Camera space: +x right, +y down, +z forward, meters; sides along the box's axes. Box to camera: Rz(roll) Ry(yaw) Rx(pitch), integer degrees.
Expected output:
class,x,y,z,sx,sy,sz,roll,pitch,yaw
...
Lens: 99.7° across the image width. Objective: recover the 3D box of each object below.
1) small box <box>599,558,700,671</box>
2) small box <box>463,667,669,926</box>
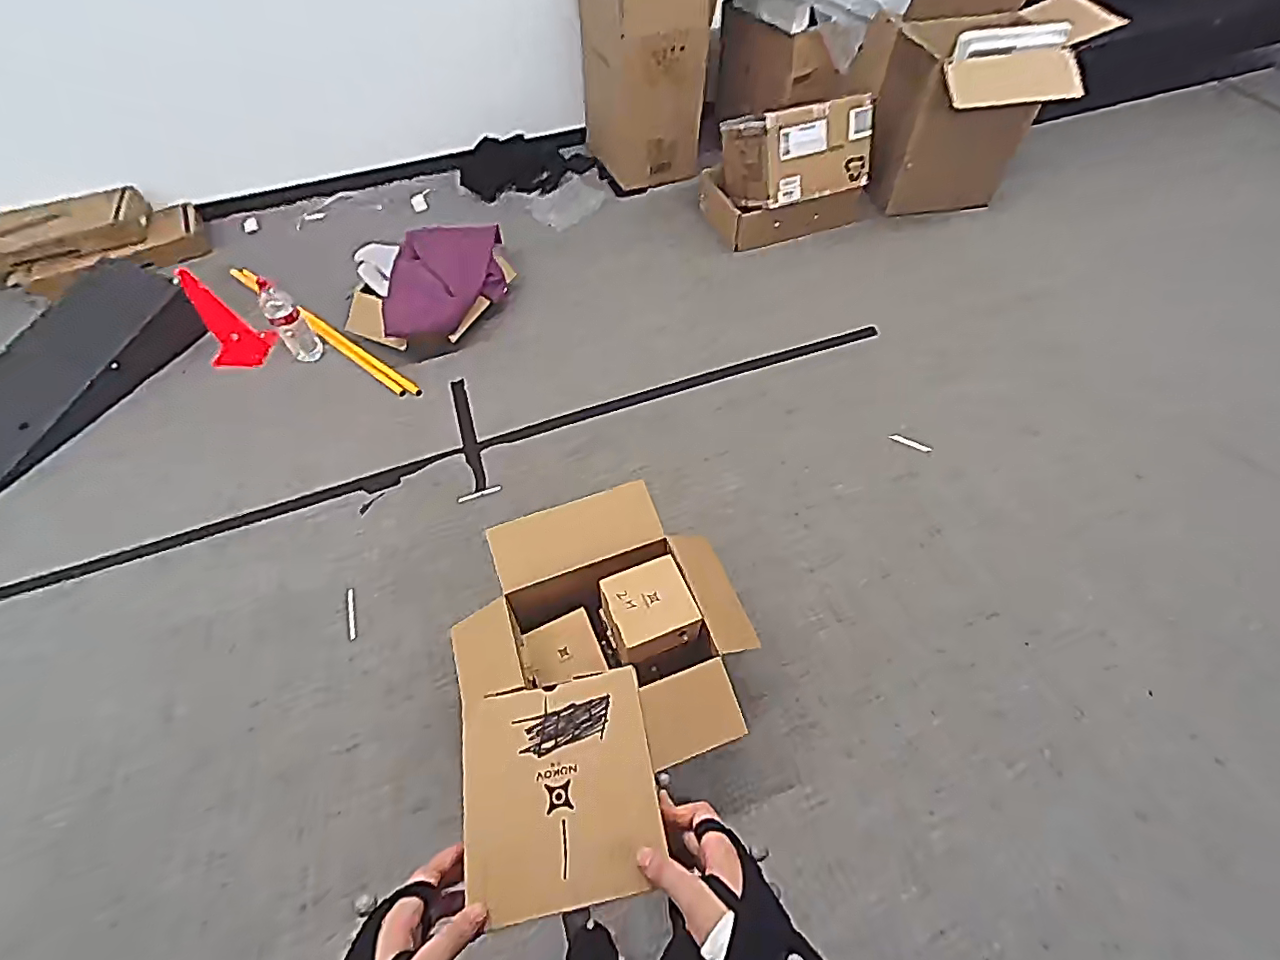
class,x,y,z,sx,sy,sz,roll,pitch,yaw
small box,0.016,0.308,1.226,0.179,0.176,0.168,-19,57,-12
small box,-0.071,0.311,0.540,0.168,0.176,0.179,-11,56,-5
